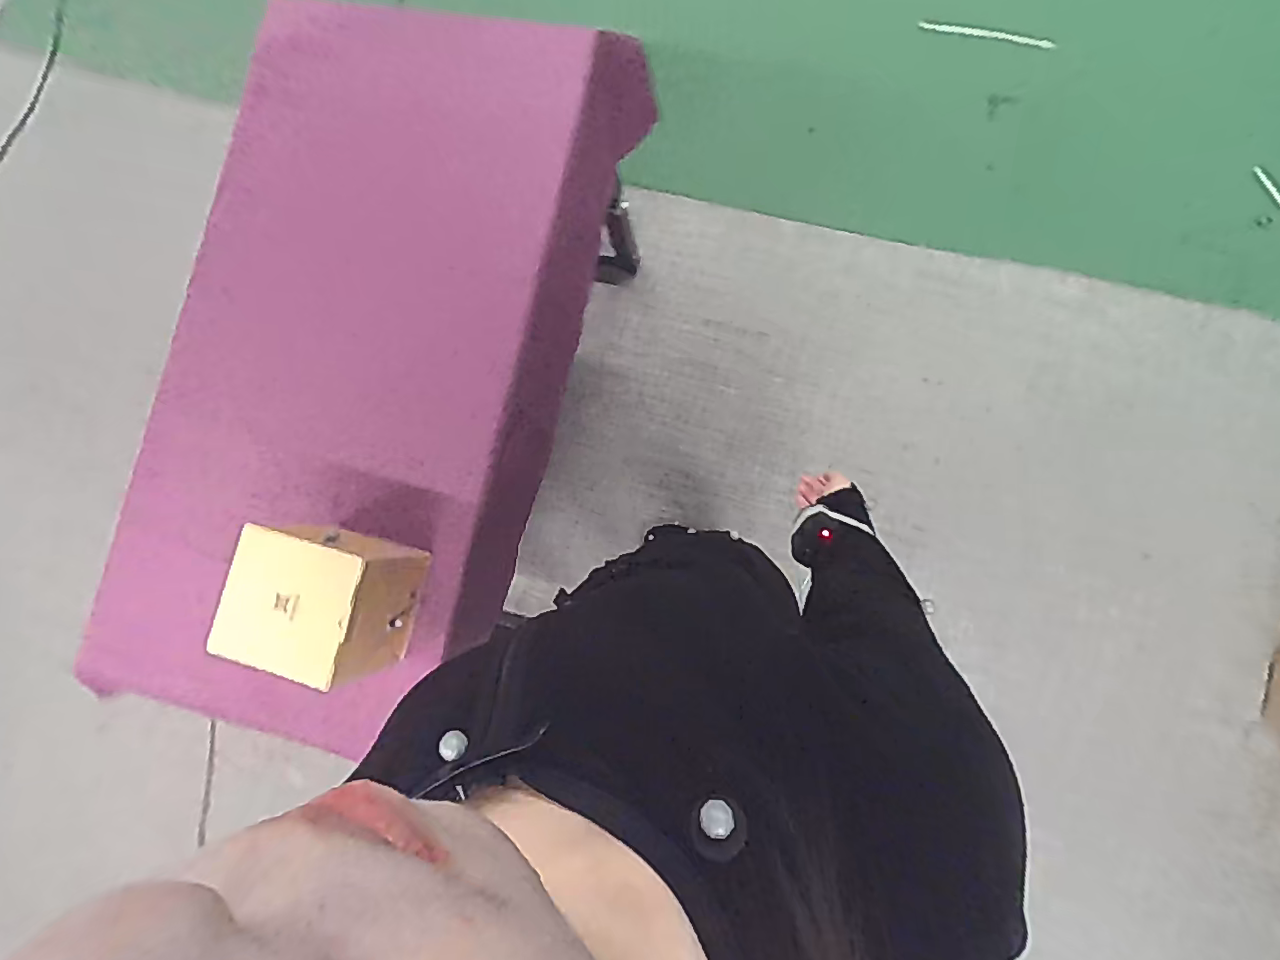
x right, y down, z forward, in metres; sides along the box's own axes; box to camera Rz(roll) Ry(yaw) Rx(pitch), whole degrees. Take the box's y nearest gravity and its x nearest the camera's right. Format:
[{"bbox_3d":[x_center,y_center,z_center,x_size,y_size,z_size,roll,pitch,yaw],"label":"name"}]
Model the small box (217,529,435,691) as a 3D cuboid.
[{"bbox_3d":[-0.421,0.169,0.753,0.179,0.176,0.168,13,86,7],"label":"small box"}]
